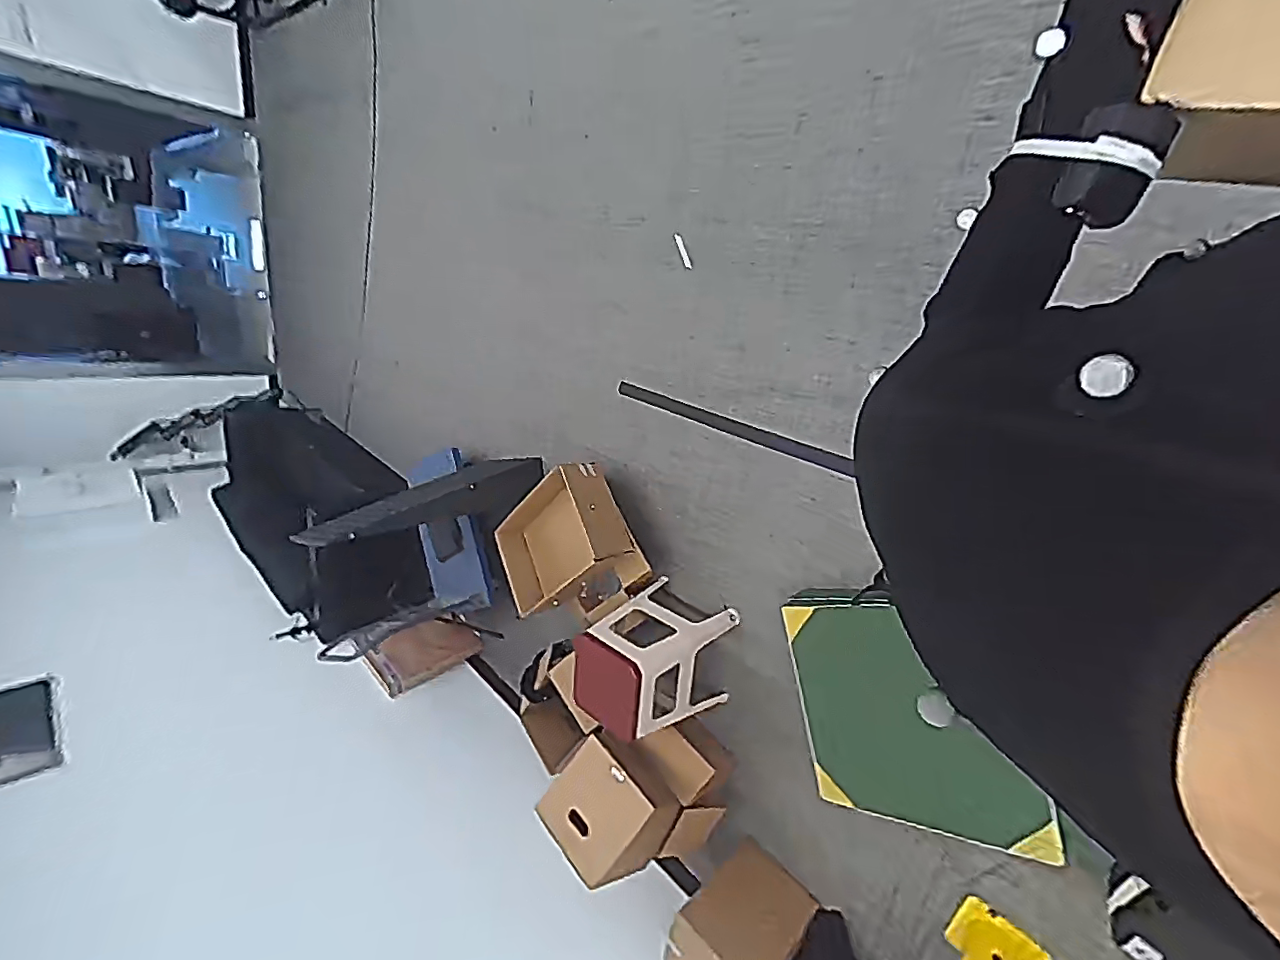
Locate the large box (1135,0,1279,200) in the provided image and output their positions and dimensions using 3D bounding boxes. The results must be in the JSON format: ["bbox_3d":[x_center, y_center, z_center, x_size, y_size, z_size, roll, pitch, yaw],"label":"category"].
[{"bbox_3d":[0.600,-0.343,0.303,0.408,0.320,0.320,27,121,34],"label":"large box"}]
